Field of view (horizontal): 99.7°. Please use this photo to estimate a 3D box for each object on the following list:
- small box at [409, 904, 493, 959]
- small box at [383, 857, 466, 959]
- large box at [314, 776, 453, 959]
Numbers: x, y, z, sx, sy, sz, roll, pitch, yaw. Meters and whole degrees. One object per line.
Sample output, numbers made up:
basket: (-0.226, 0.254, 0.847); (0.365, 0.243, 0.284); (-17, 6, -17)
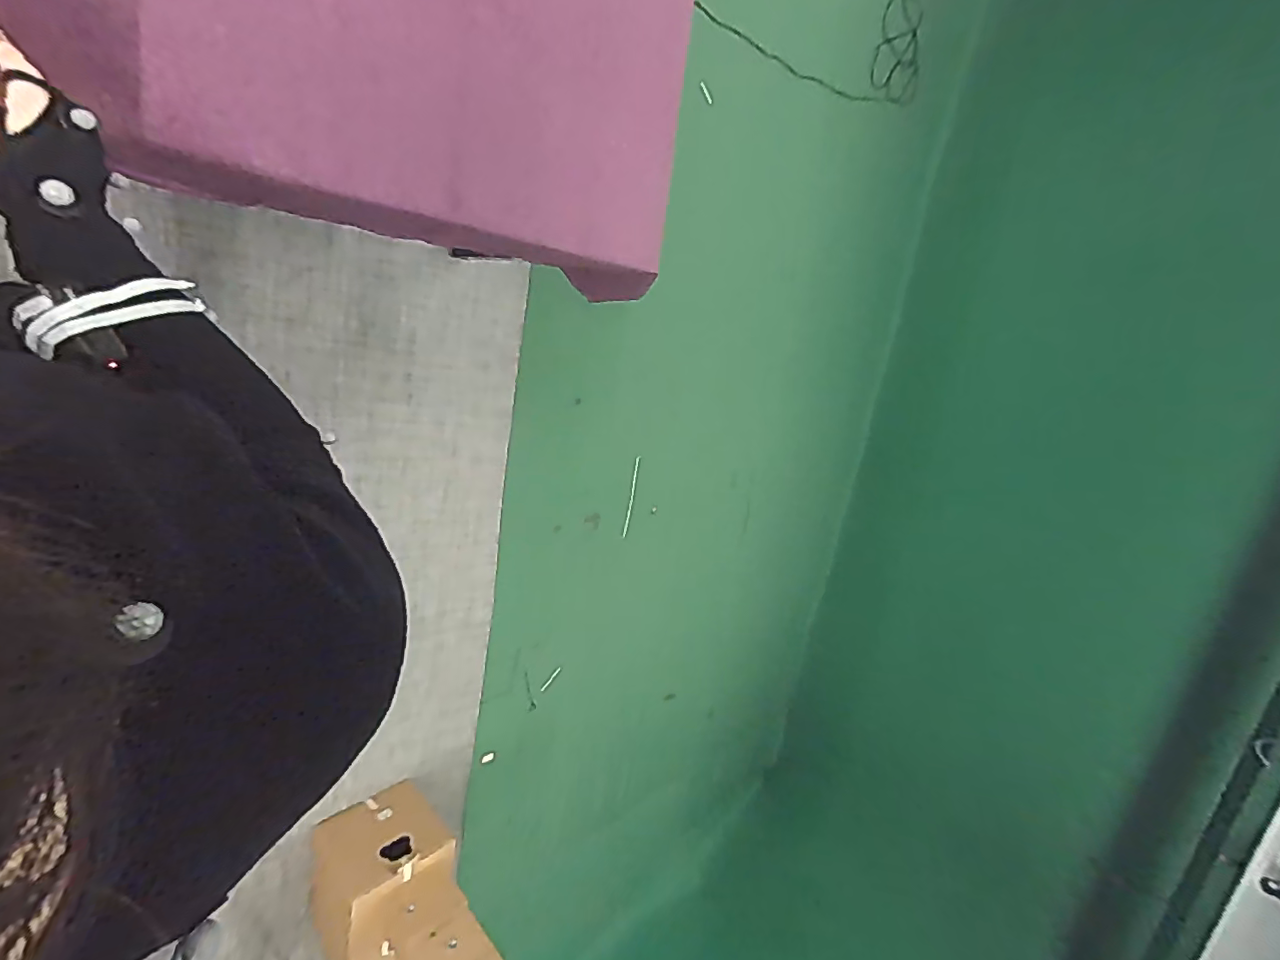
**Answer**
small box: (-0.525, 1.336, 1.498); (0.168, 0.176, 0.179); (-13, 117, -45)
small box: (-0.642, 1.282, 1.600); (0.179, 0.176, 0.168); (-9, 114, -48)
large box: (-0.840, 1.282, 1.759); (0.320, 0.320, 0.408); (-7, 112, -47)
